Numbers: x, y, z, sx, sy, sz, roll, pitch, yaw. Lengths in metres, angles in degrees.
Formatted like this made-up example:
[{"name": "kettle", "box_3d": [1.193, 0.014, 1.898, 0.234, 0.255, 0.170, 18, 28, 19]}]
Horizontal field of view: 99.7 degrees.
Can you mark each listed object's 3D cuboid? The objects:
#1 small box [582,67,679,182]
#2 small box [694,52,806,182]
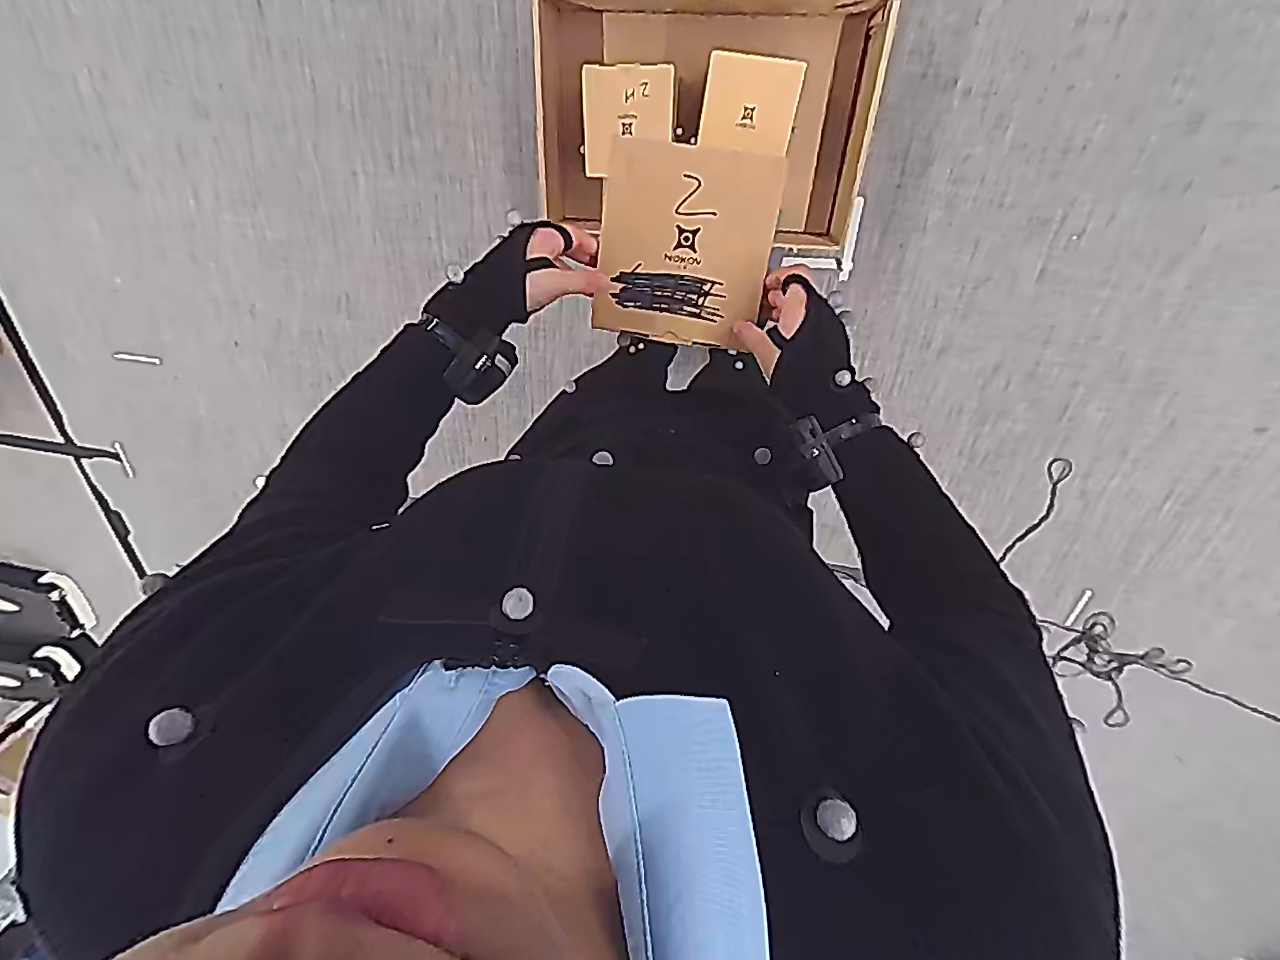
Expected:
[{"name": "small box", "box_3d": [-0.014, -0.688, 1.058, 0.168, 0.176, 0.179, 4, 120, 5]}, {"name": "small box", "box_3d": [0.202, -0.680, 1.028, 0.168, 0.176, 0.179, 12, 121, 4]}]
